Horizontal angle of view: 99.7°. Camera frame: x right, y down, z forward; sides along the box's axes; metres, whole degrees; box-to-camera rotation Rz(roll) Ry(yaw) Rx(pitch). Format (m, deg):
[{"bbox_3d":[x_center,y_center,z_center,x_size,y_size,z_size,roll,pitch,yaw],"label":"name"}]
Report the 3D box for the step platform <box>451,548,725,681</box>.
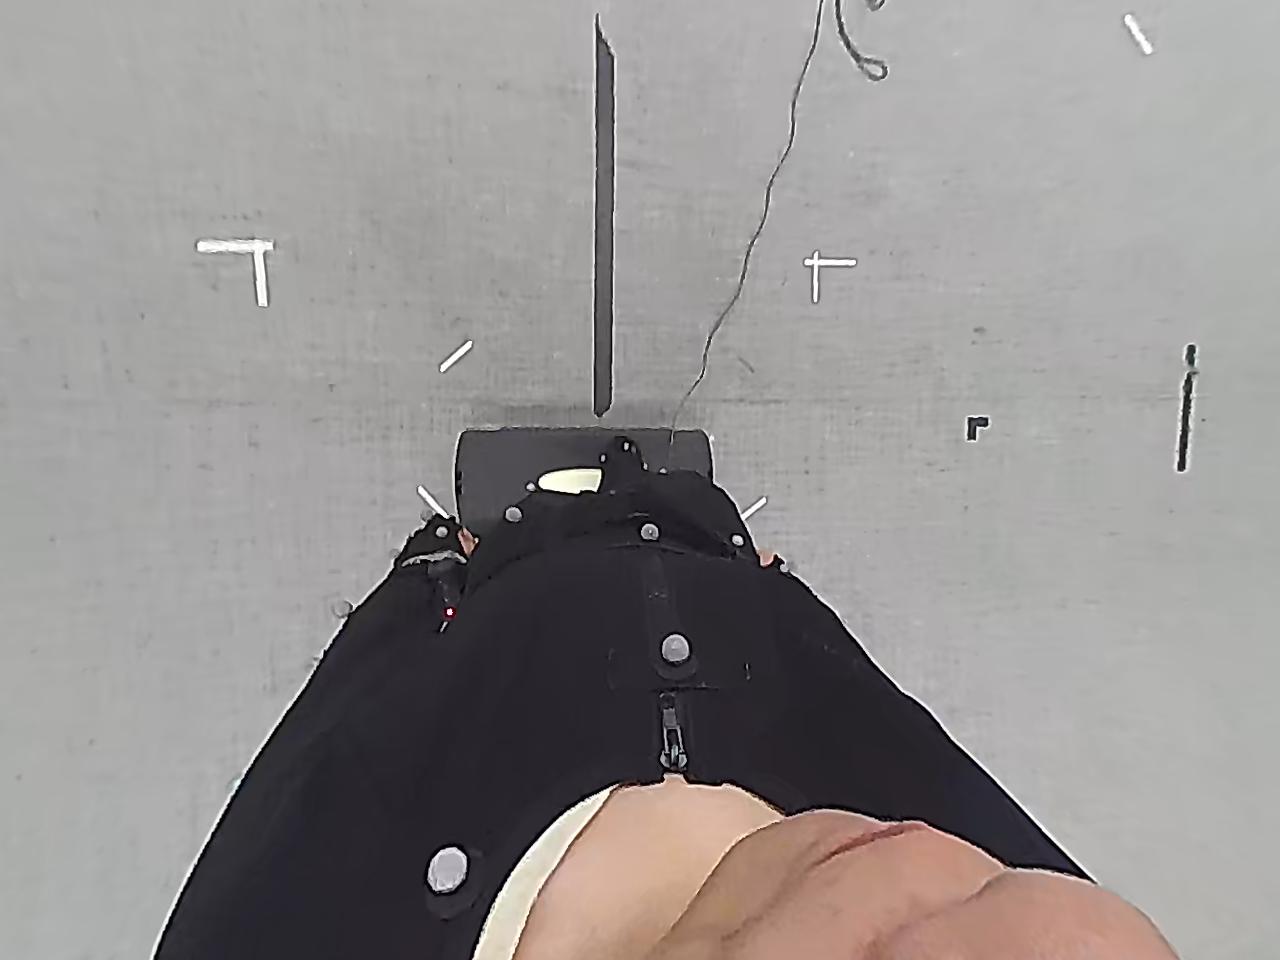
[{"bbox_3d":[-0.126,0.344,1.395,0.684,0.204,0.286,4,90,-6],"label":"step platform"}]
